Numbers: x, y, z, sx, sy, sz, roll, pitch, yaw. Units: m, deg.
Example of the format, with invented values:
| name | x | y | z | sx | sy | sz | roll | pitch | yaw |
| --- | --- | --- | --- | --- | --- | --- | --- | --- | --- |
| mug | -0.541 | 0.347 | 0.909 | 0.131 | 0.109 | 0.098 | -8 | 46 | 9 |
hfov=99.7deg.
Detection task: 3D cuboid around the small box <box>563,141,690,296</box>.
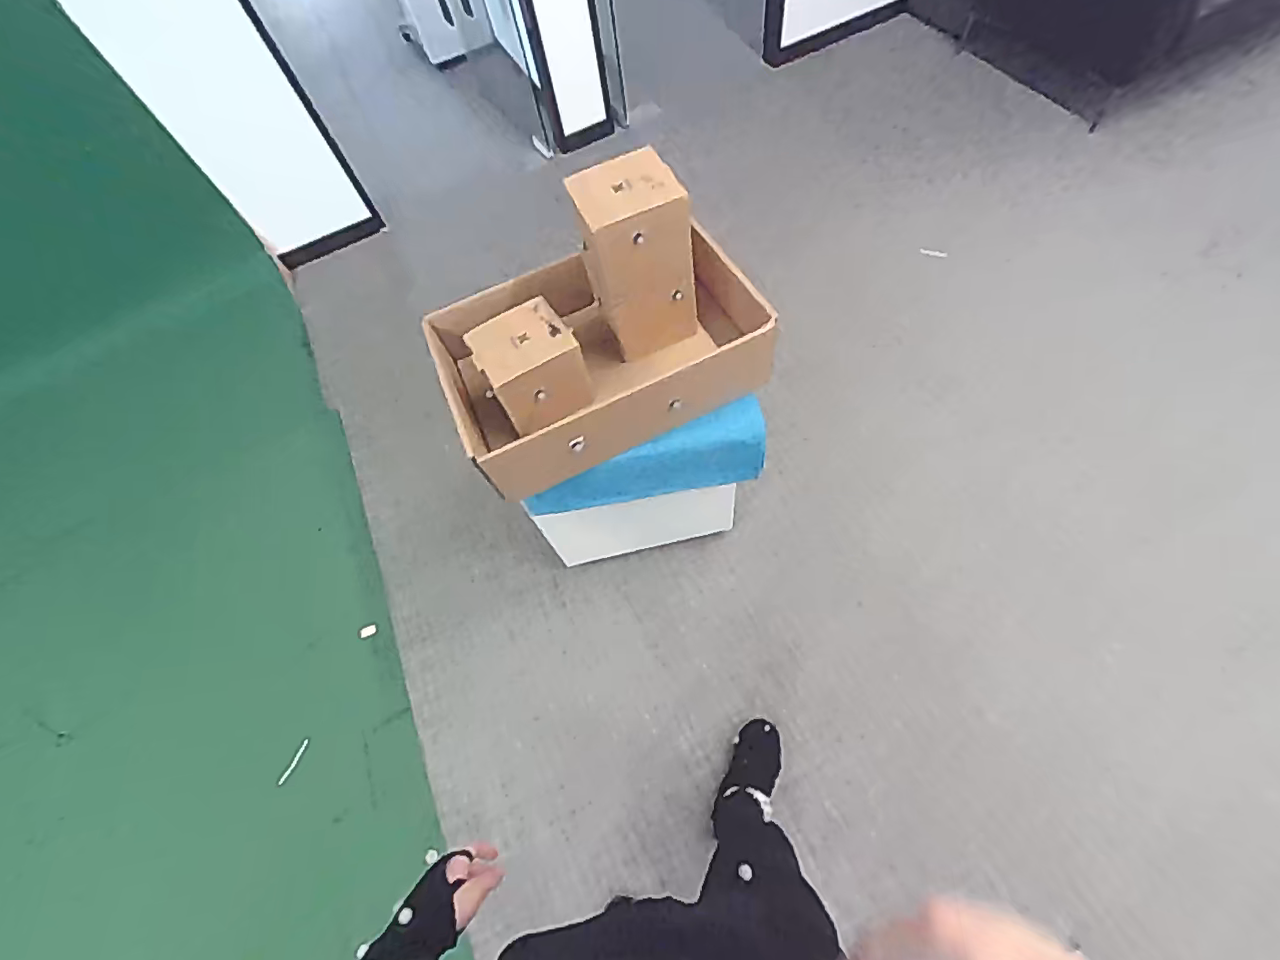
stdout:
| name | x | y | z | sx | sy | sz | roll | pitch | yaw |
| --- | --- | --- | --- | --- | --- | --- | --- | --- | --- |
| small box | -0.018 | -0.469 | 0.988 | 0.179 | 0.176 | 0.168 | -22 | 62 | -4 |
